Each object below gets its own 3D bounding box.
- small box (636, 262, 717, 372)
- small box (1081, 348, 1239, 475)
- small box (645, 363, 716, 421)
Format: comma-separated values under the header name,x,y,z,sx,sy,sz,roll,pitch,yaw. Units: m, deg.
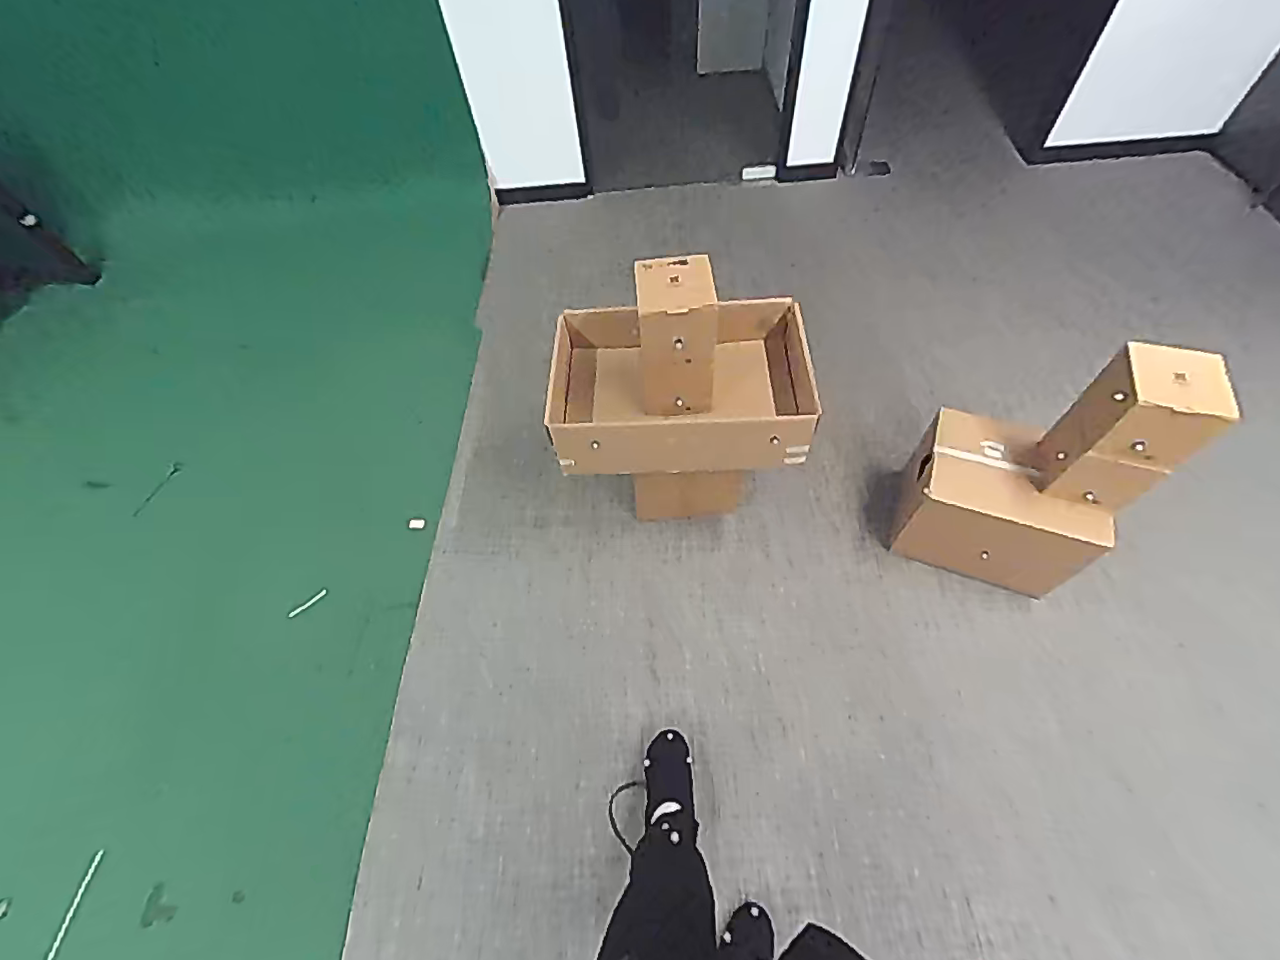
name,x,y,z,sx,sy,sz,roll,pitch,yaw
small box,0.082,-0.358,1.218,0.168,0.176,0.179,-4,57,2
small box,1.055,-0.139,1.120,0.168,0.176,0.179,14,58,14
small box,0.097,-0.269,1.354,0.168,0.176,0.179,-3,57,4
